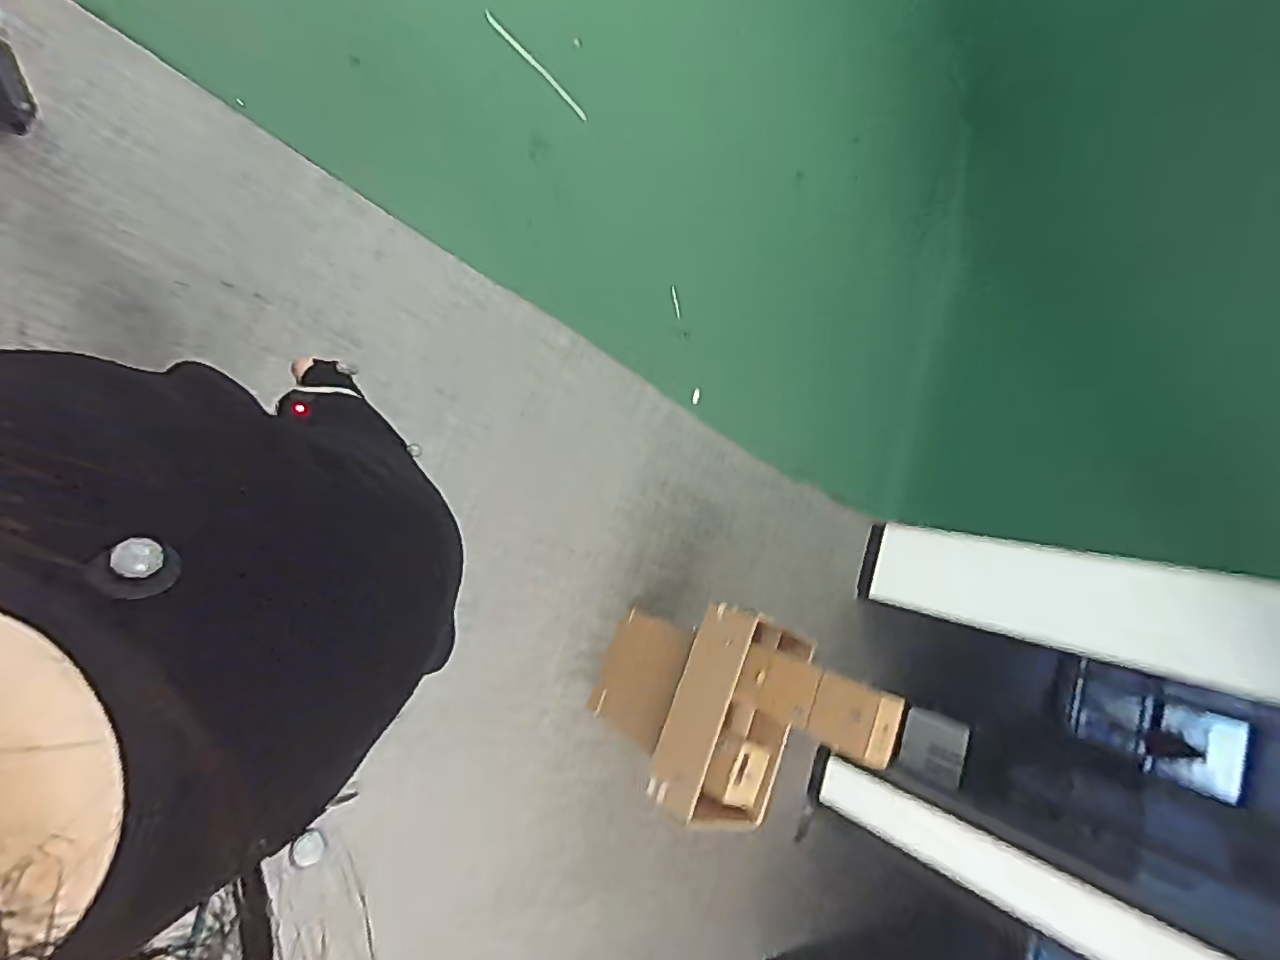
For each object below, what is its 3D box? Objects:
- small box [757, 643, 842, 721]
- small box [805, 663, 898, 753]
[{"bbox_3d":[0.476,0.608,1.620,0.168,0.176,0.179,30,77,-40],"label":"small box"},{"bbox_3d":[0.584,0.628,1.496,0.168,0.176,0.179,30,77,-40],"label":"small box"}]
